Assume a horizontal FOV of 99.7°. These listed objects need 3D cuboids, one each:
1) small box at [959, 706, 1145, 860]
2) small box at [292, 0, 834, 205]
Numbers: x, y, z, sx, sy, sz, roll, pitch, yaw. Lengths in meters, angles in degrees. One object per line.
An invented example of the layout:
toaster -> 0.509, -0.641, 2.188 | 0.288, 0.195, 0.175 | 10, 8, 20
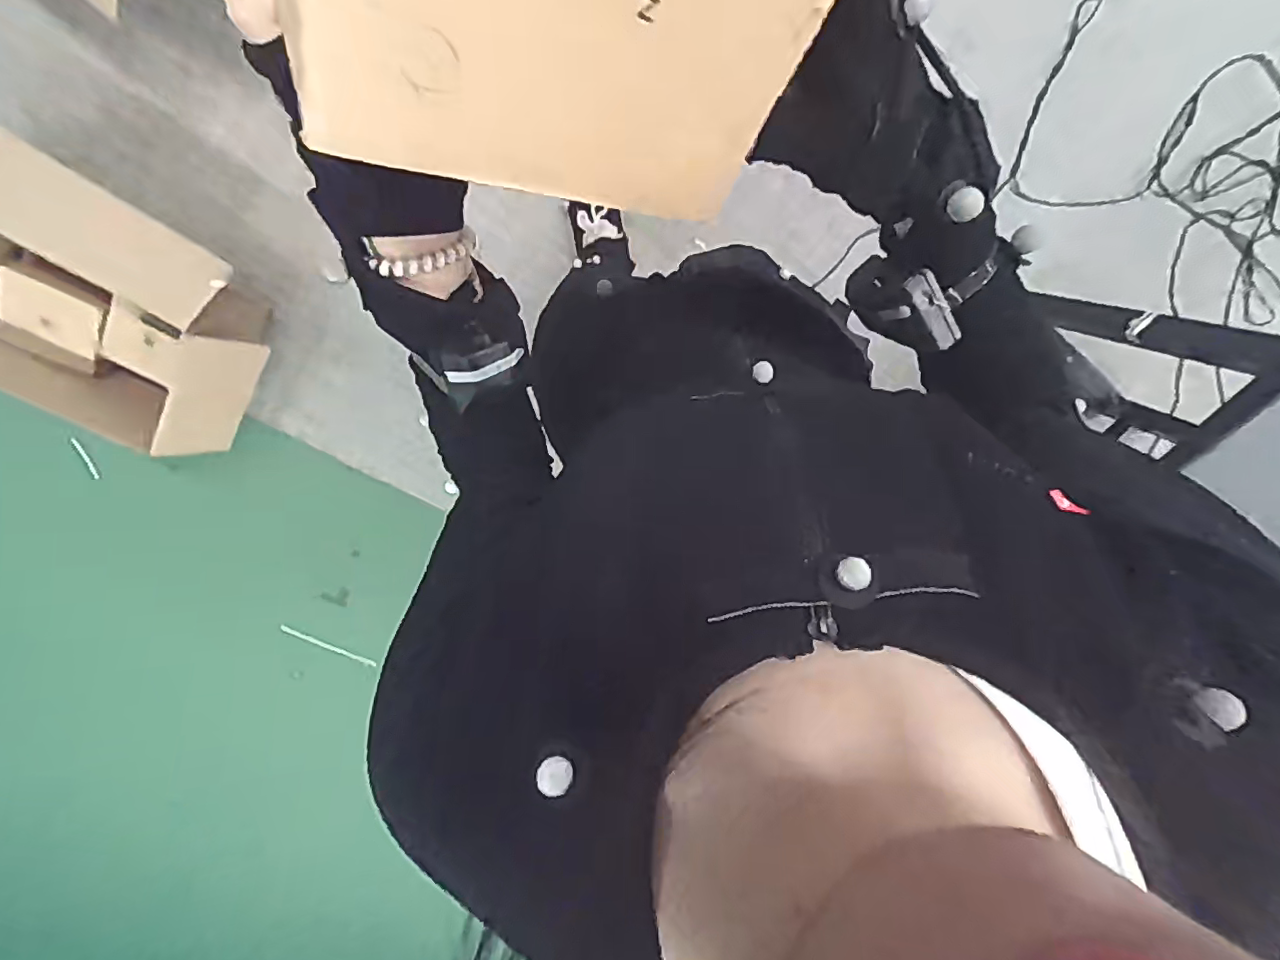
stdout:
small box -> 0.747, 0.553, 0.998 | 0.179, 0.176, 0.168 | 28, 110, -18
small box -> -0.031, -0.235, 0.191 | 0.179, 0.176, 0.168 | -9, 151, -34
